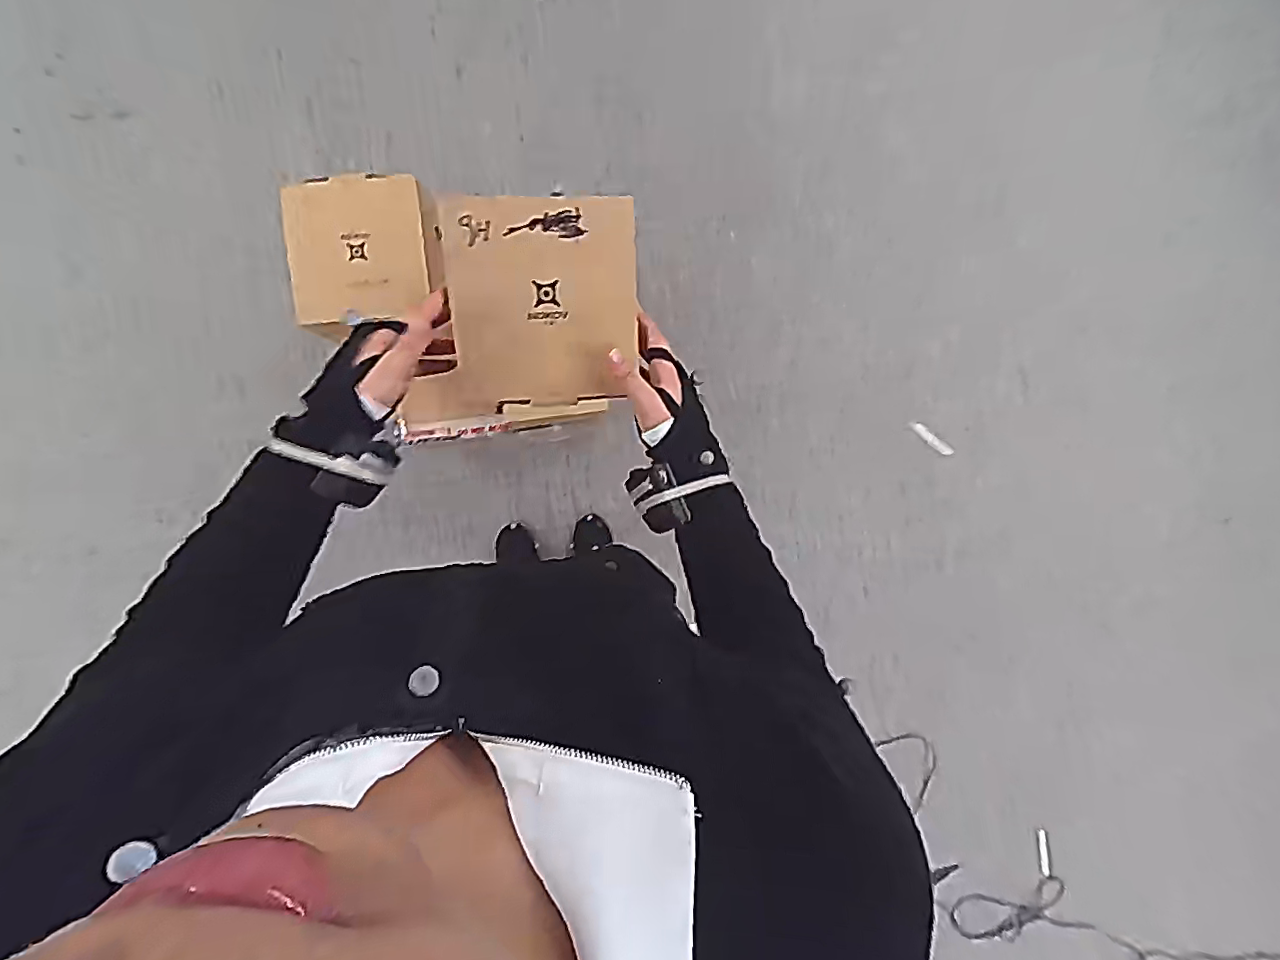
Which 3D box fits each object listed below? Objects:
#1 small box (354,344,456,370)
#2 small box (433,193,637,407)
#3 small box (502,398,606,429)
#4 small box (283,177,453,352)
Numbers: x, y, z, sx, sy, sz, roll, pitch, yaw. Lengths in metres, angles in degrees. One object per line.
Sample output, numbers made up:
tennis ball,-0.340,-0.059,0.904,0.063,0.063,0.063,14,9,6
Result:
small box,-0.374,-0.293,0.911,0.168,0.176,0.179,-7,93,-5
small box,-0.097,-0.180,0.549,0.168,0.176,0.179,-6,109,-9
small box,-0.156,-0.188,0.940,0.168,0.176,0.179,-8,93,-7
small box,-0.355,-0.287,0.750,0.168,0.176,0.179,-7,93,-5
